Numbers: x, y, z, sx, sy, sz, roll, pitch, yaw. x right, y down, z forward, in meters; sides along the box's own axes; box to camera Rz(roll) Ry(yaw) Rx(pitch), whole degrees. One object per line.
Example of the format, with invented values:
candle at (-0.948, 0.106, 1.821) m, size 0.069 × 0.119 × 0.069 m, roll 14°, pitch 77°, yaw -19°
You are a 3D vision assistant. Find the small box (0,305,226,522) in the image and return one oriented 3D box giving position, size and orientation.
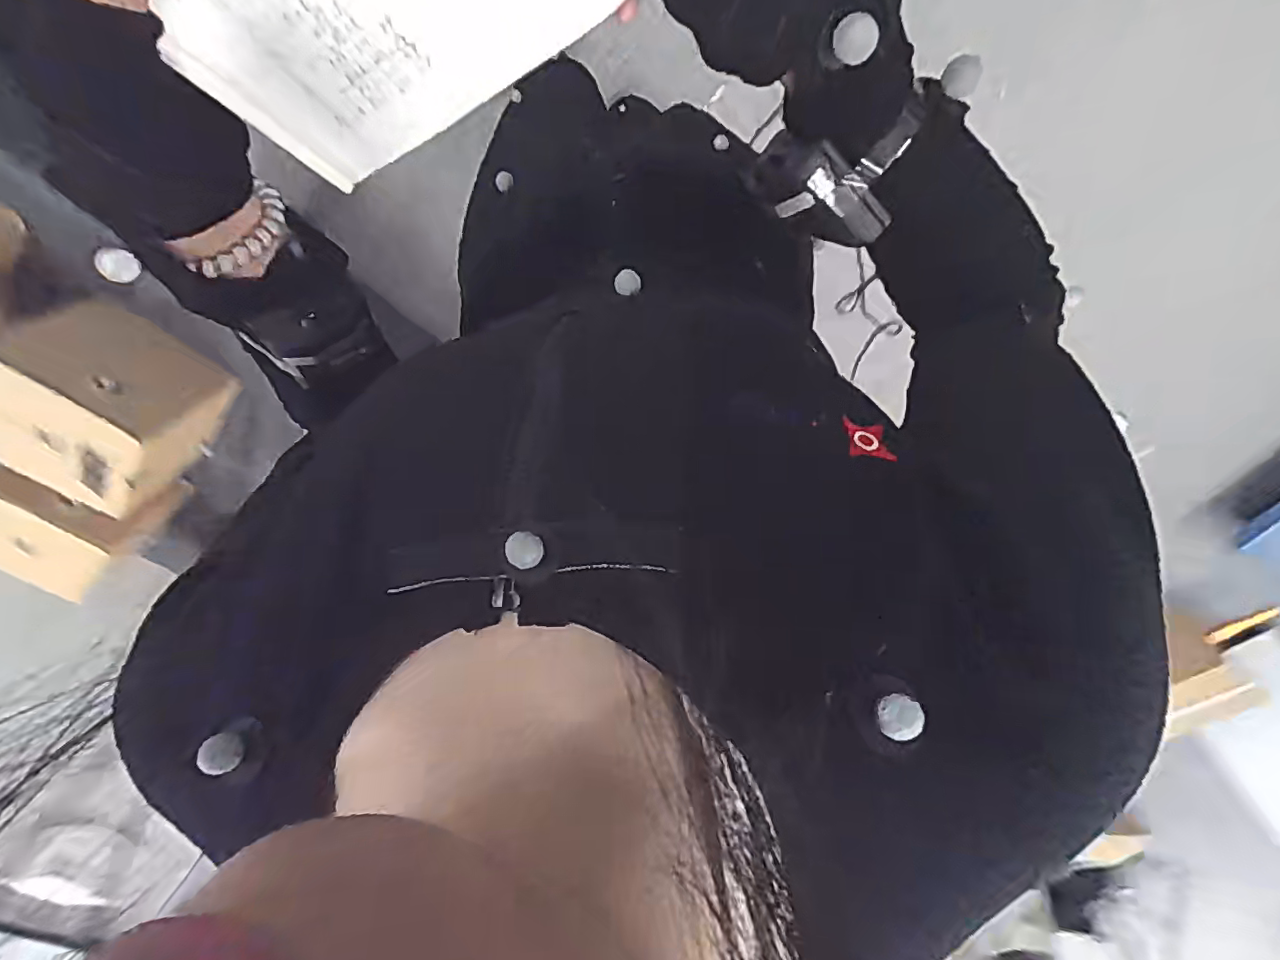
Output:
small box at (-0.675, -0.087, 0.678) m, size 0.179 × 0.176 × 0.168 m, roll 36°, pitch 121°, yaw -21°
